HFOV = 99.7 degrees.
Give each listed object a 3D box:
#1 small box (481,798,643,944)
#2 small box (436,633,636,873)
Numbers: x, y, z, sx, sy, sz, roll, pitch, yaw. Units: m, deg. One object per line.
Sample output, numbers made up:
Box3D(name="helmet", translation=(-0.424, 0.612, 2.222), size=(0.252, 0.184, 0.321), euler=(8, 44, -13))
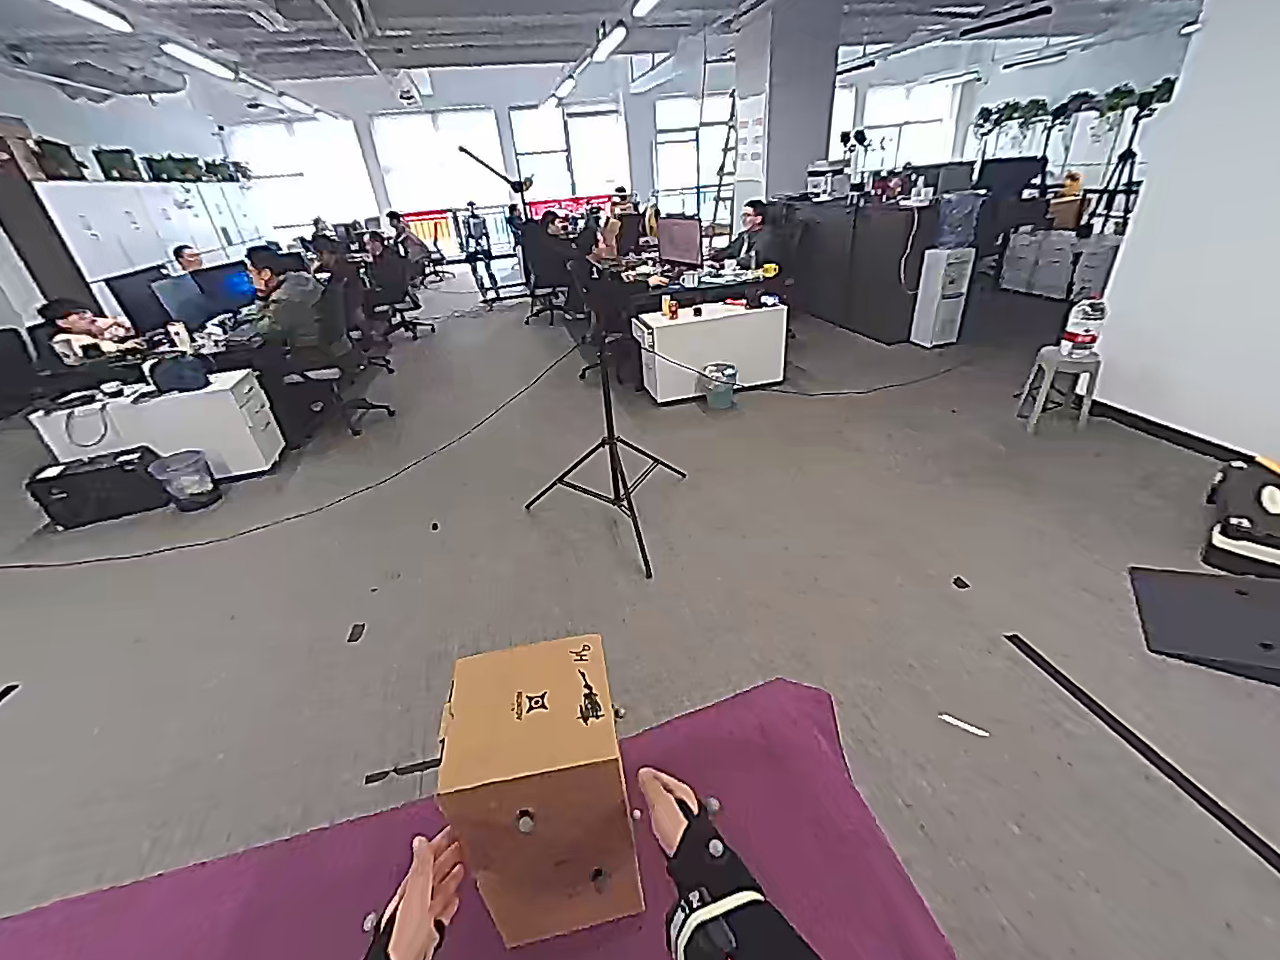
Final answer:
Box3D(name="small box", translation=(-0.095, 0.449, 0.697), size=(0.179, 0.176, 0.168), euler=(-10, 31, -7))
Box3D(name="small box", translation=(-0.109, 0.307, 0.615), size=(0.179, 0.176, 0.168), euler=(-10, 31, -6))
